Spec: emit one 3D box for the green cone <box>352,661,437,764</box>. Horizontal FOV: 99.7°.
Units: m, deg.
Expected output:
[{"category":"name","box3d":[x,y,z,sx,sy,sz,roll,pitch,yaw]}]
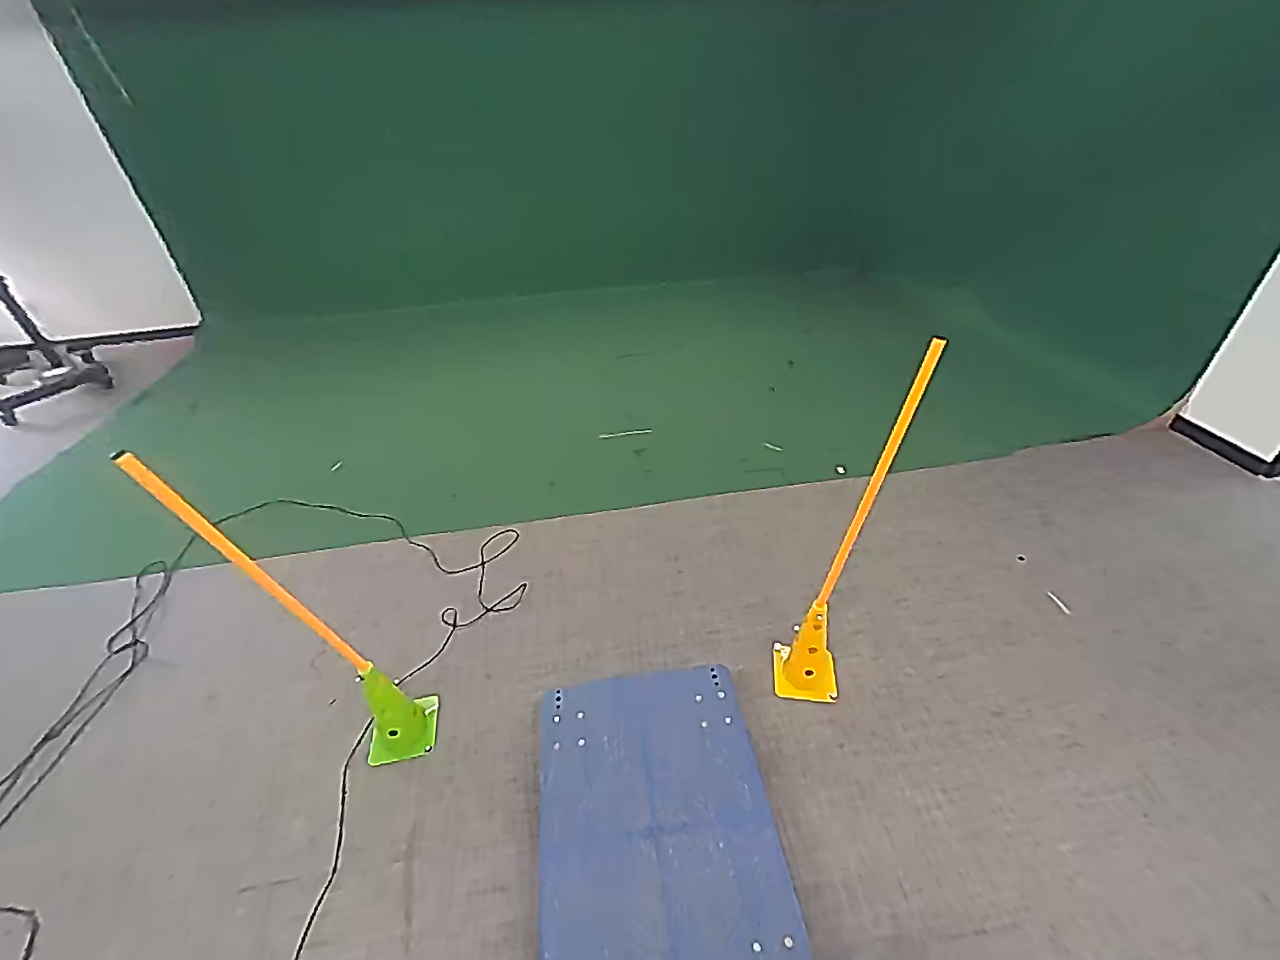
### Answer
[{"category":"green cone","box3d":[-0.777,0.665,1.641,0.202,0.368,0.200,-11,38,-7]}]
